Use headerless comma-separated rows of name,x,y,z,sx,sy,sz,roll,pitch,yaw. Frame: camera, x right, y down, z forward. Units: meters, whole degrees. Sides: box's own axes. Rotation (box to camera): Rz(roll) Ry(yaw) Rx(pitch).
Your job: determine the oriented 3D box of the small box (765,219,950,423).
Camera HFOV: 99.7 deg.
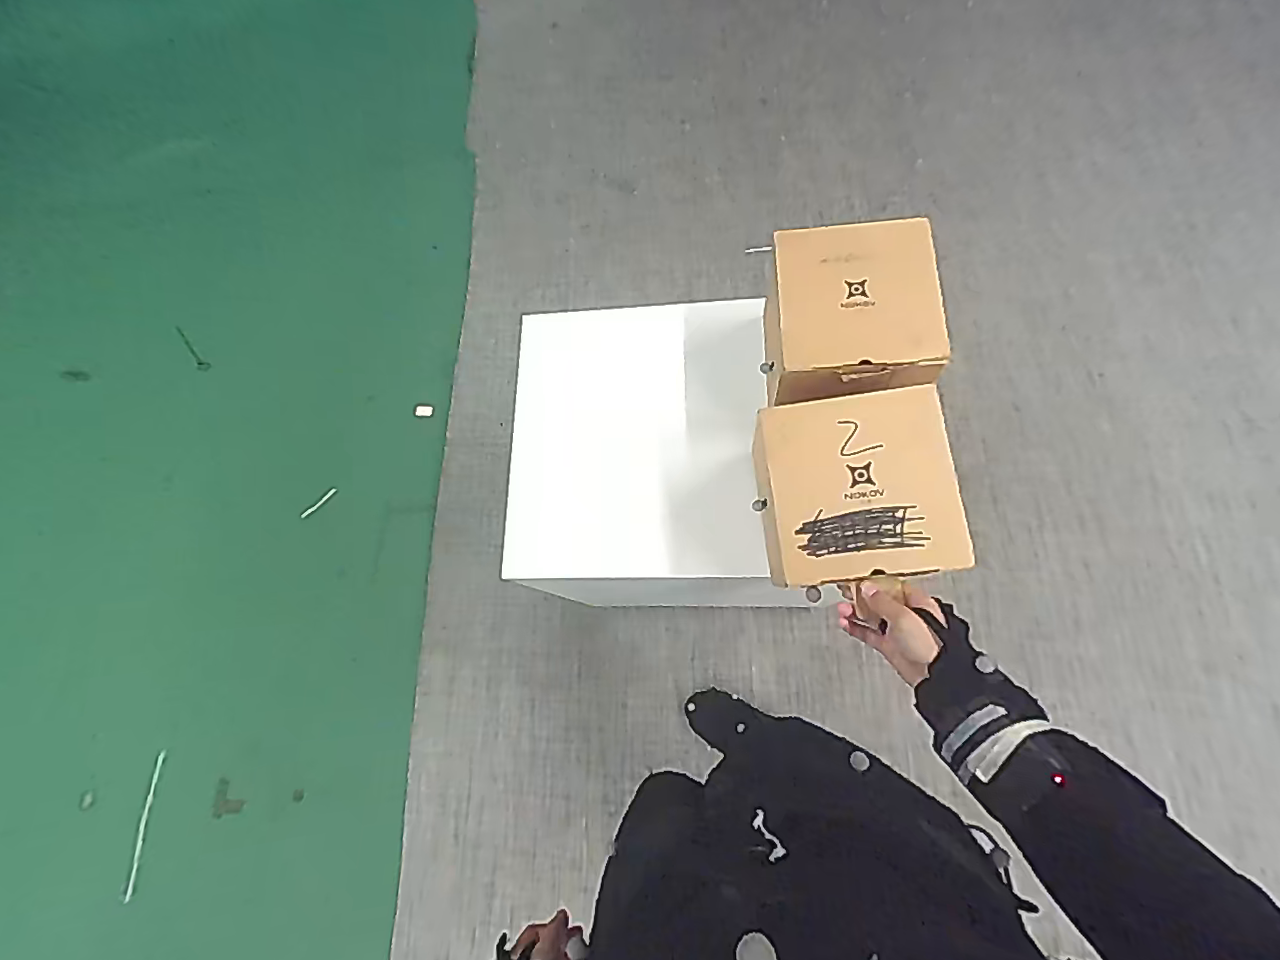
small box,0.242,-0.174,0.647,0.168,0.176,0.179,-2,72,7
